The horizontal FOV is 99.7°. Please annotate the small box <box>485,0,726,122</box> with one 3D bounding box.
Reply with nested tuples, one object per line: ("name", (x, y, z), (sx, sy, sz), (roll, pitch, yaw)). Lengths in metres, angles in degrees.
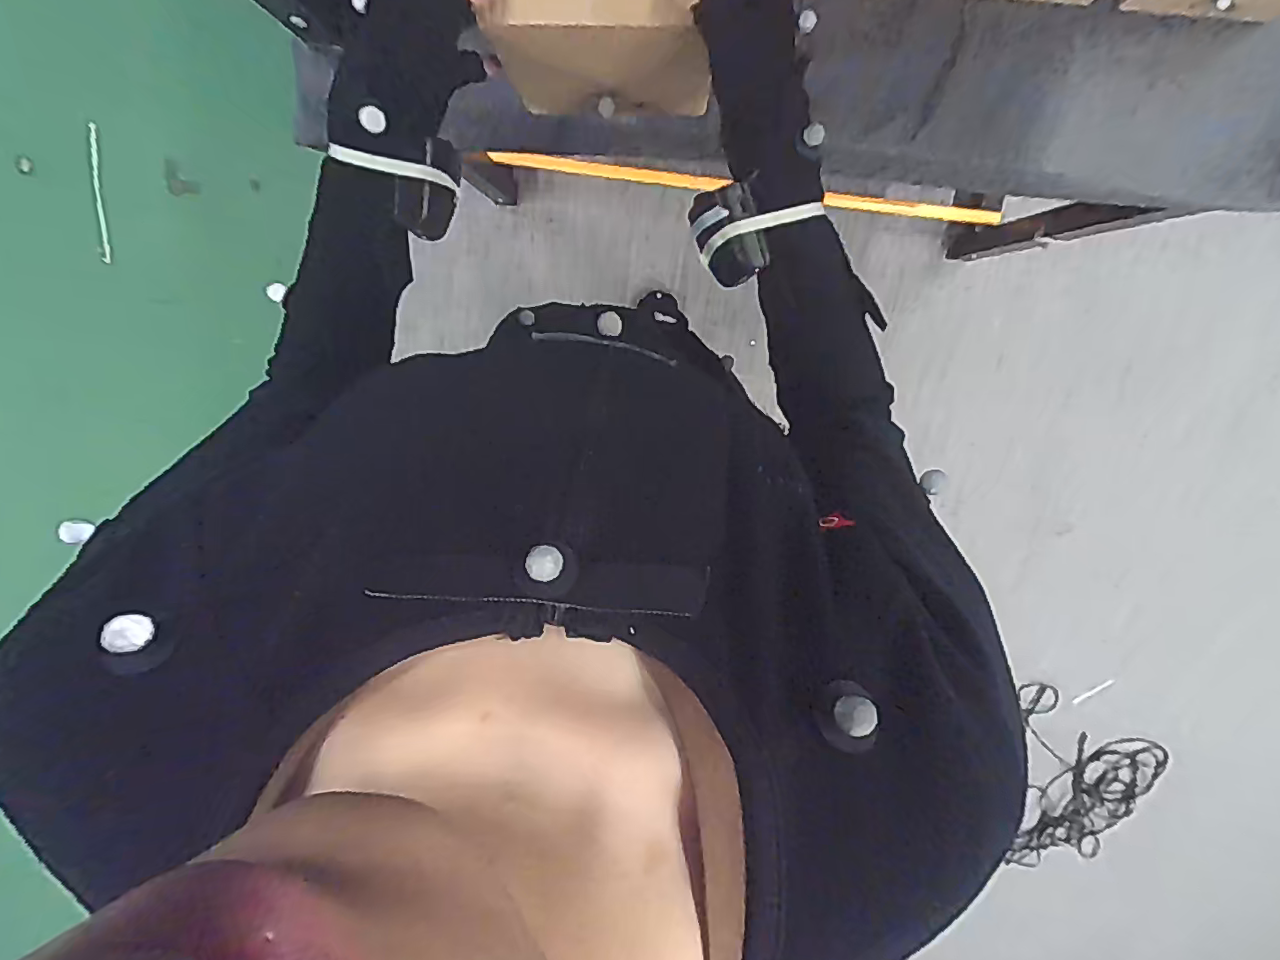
("small box", (-0.021, -0.408, 0.421), (0.168, 0.176, 0.179), (1, 108, 2))
